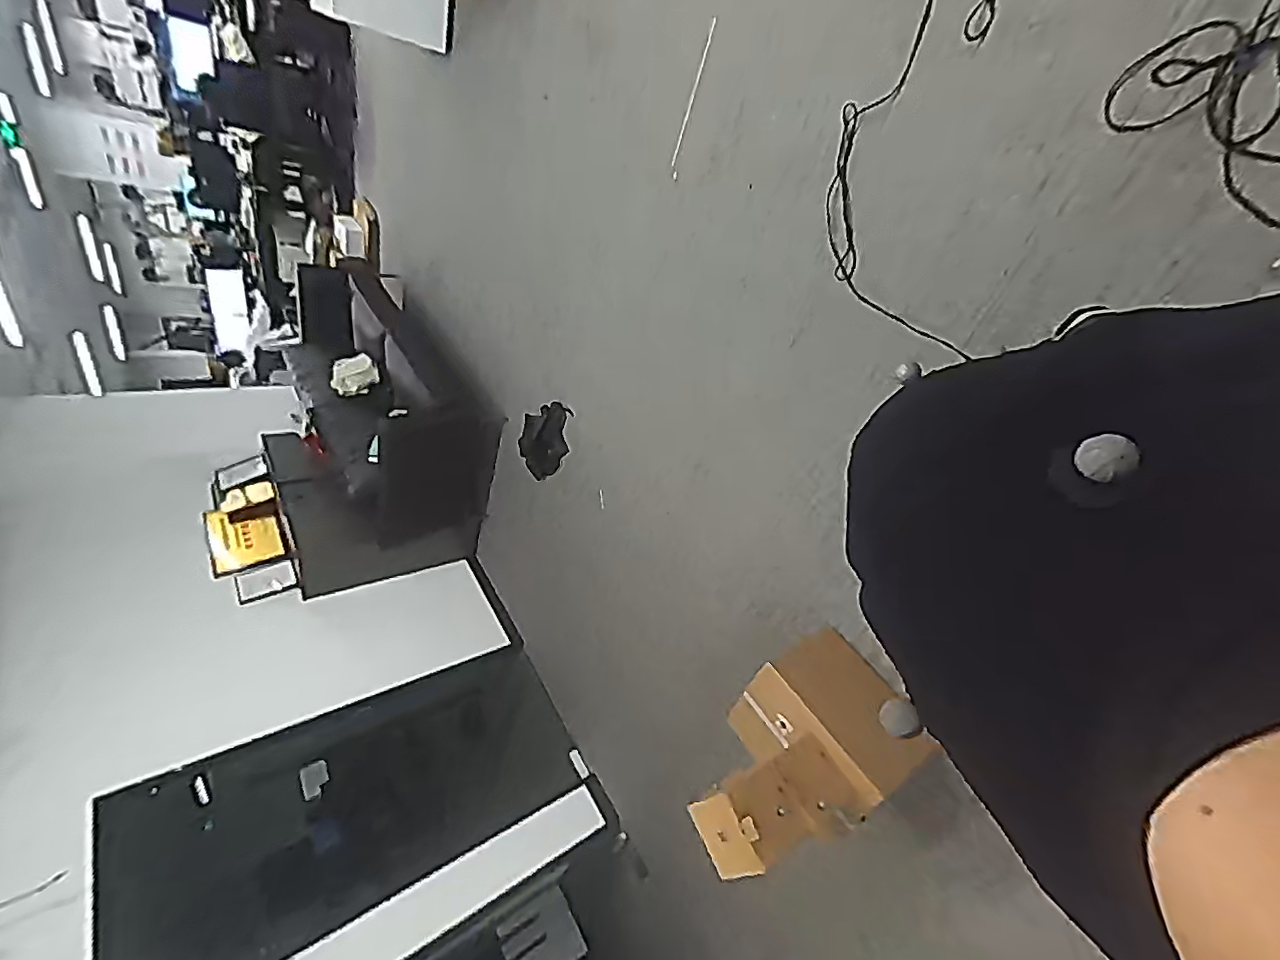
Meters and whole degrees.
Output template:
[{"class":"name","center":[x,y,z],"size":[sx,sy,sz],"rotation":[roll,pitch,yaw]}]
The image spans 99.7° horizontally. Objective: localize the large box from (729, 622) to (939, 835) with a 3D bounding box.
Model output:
[{"class":"large box","center":[0.541,0.691,1.554],"size":[0.408,0.320,0.320],"rotation":[50,133,34]}]

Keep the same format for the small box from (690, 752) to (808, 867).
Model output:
[{"class":"small box","center":[0.255,0.771,1.271],"size":[0.168,0.176,0.179],"rotation":[60,139,23]}]
